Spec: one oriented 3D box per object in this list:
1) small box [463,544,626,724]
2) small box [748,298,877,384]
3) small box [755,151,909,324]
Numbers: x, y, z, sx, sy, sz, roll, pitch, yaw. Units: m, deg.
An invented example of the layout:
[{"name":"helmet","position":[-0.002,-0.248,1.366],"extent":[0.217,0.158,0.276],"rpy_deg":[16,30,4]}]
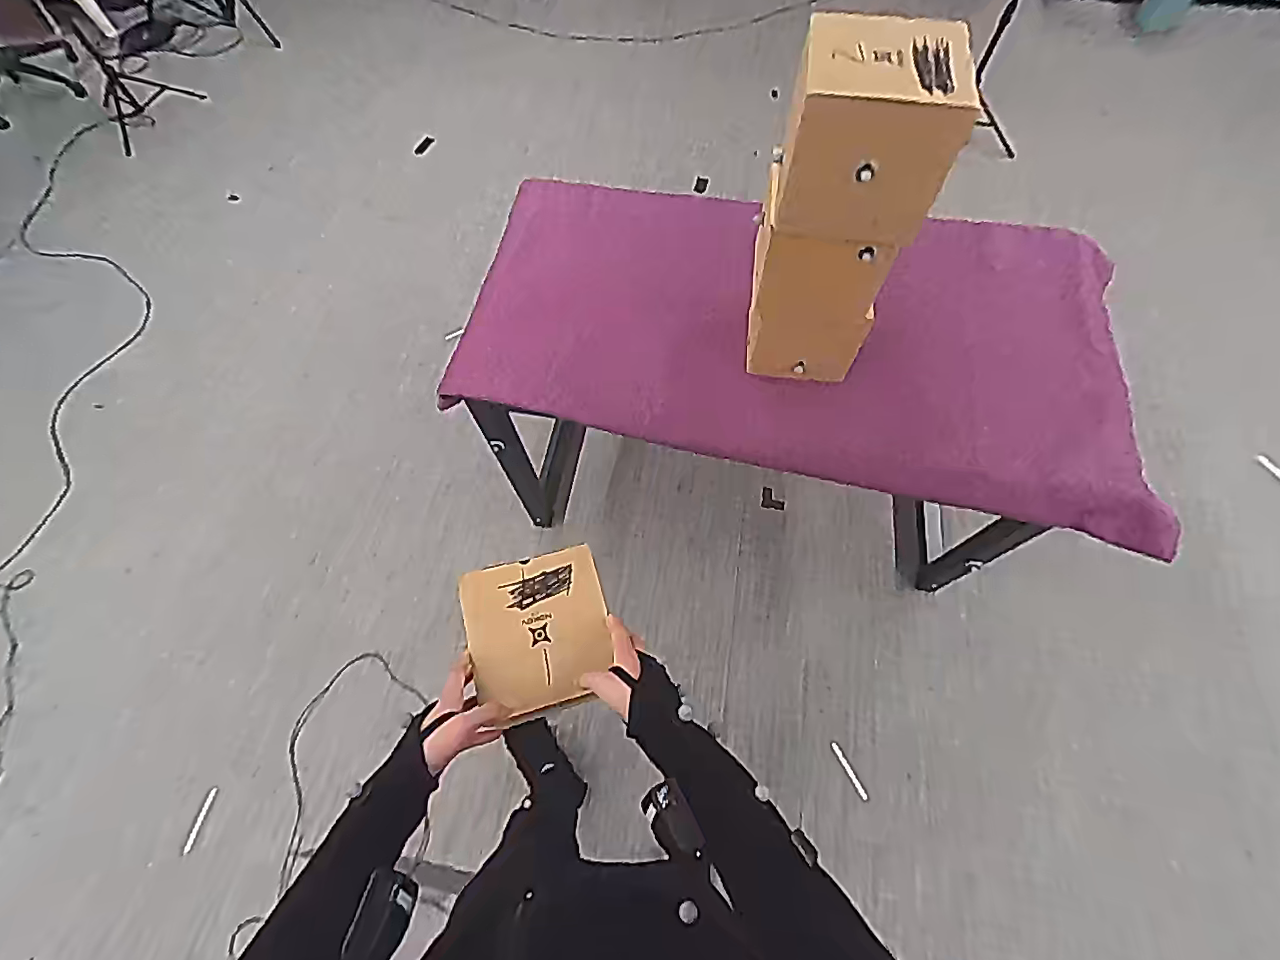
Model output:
[{"name":"small box","position":[-0.125,0.206,0.707],"extent":[0.168,0.176,0.179],"rpy_deg":[-12,67,-12]},{"name":"small box","position":[0.296,-0.288,0.952],"extent":[0.179,0.176,0.168],"rpy_deg":[7,63,4]},{"name":"small box","position":[0.272,-0.353,0.803],"extent":[0.179,0.176,0.168],"rpy_deg":[7,64,4]}]
